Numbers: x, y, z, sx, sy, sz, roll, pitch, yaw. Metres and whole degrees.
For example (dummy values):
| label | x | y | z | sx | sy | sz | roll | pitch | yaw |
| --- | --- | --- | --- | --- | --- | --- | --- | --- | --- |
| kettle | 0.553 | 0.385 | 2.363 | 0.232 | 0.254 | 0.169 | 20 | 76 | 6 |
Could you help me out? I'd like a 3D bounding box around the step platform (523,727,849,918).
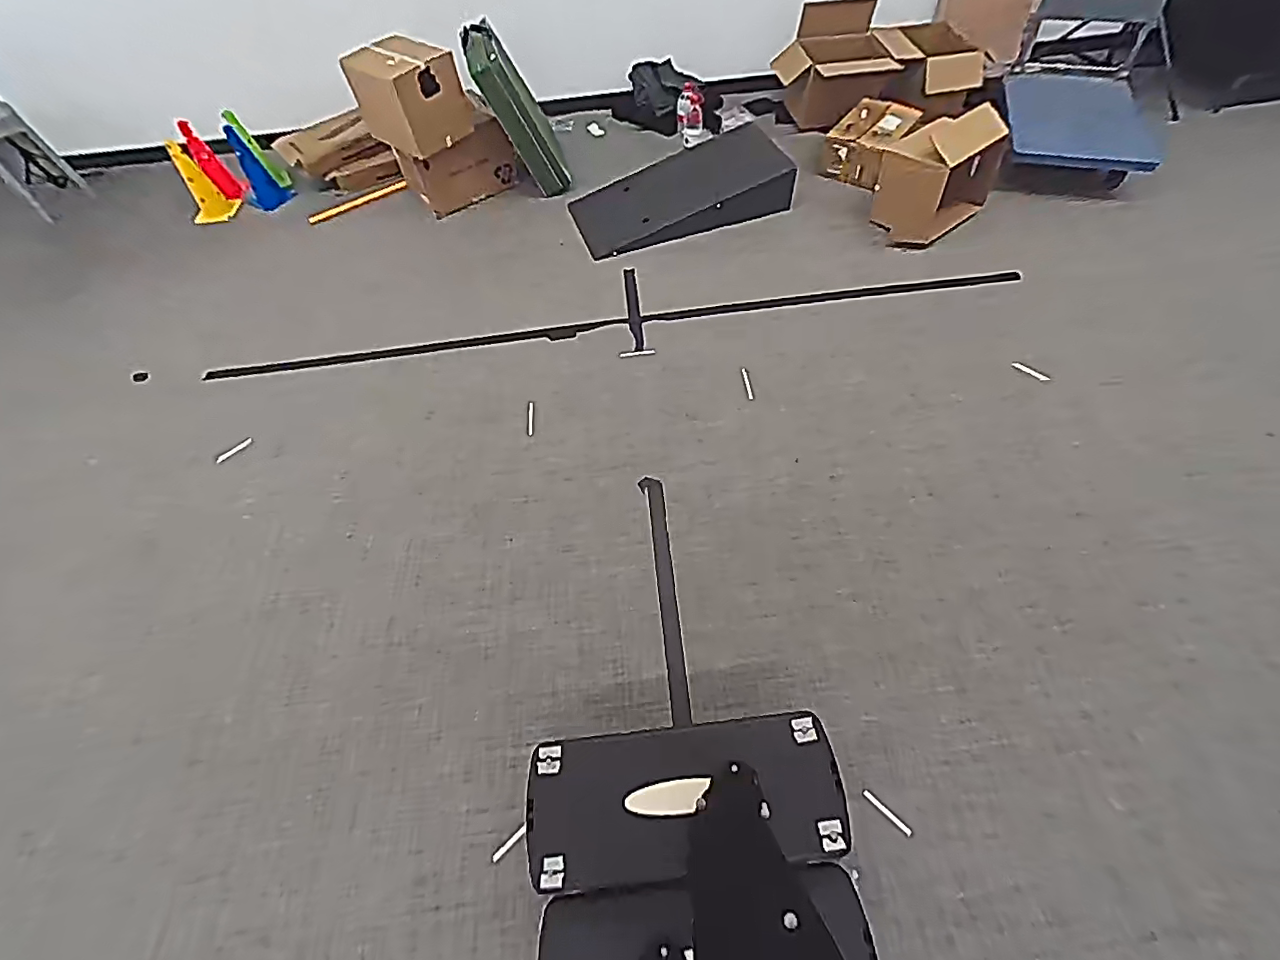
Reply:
| label | x | y | z | sx | sy | sz | roll | pitch | yaw |
| --- | --- | --- | --- | --- | --- | --- | --- | --- | --- |
| step platform | 0.090 | 0.740 | 1.189 | 0.684 | 0.204 | 0.286 | -7 | 57 | -1 |
